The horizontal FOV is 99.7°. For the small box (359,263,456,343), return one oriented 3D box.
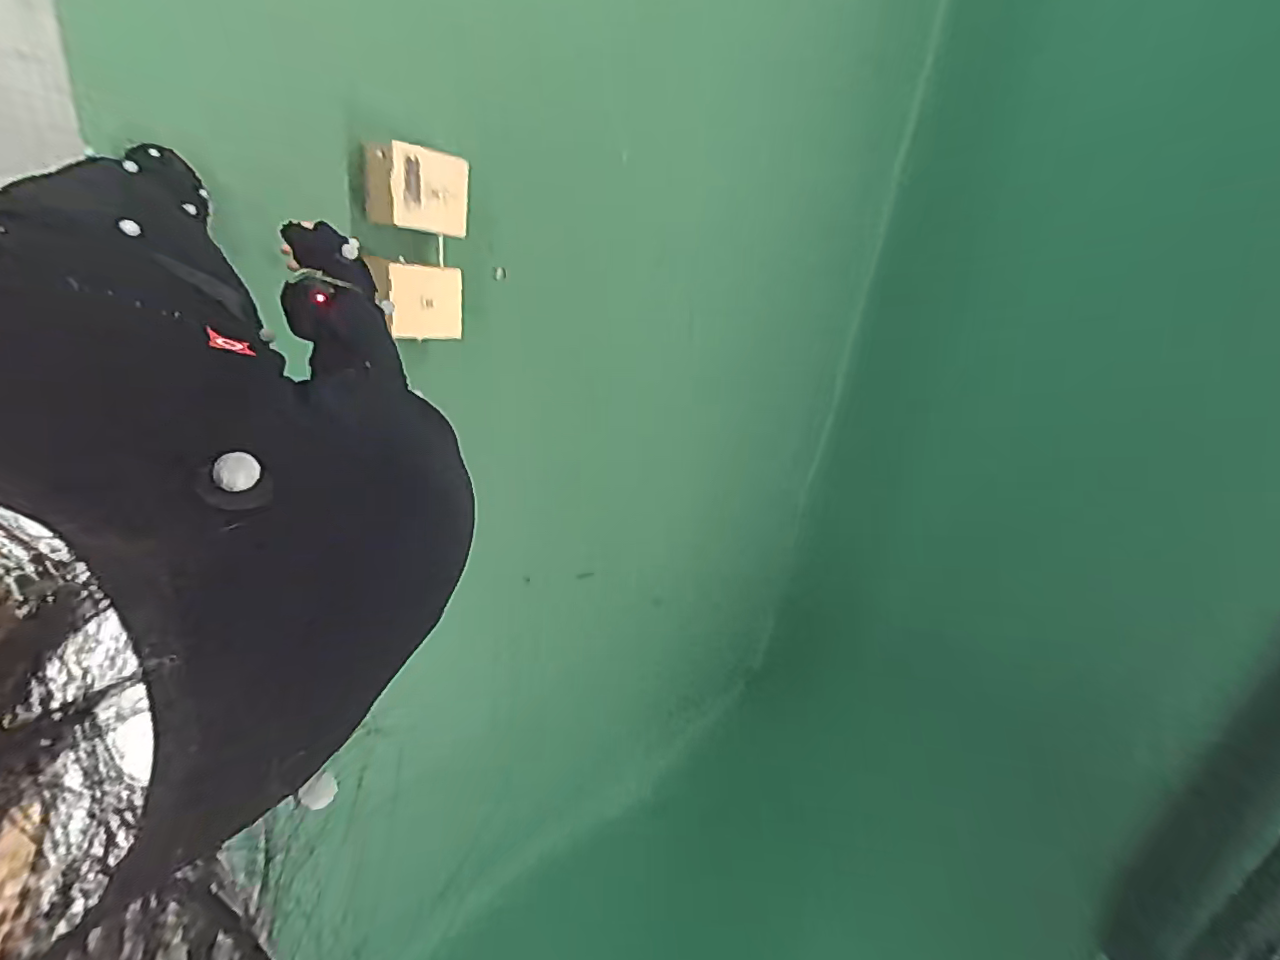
[{"bbox_3d":[-0.585,-0.447,1.362,0.179,0.176,0.168,-12,120,-42],"label":"small box"}]
